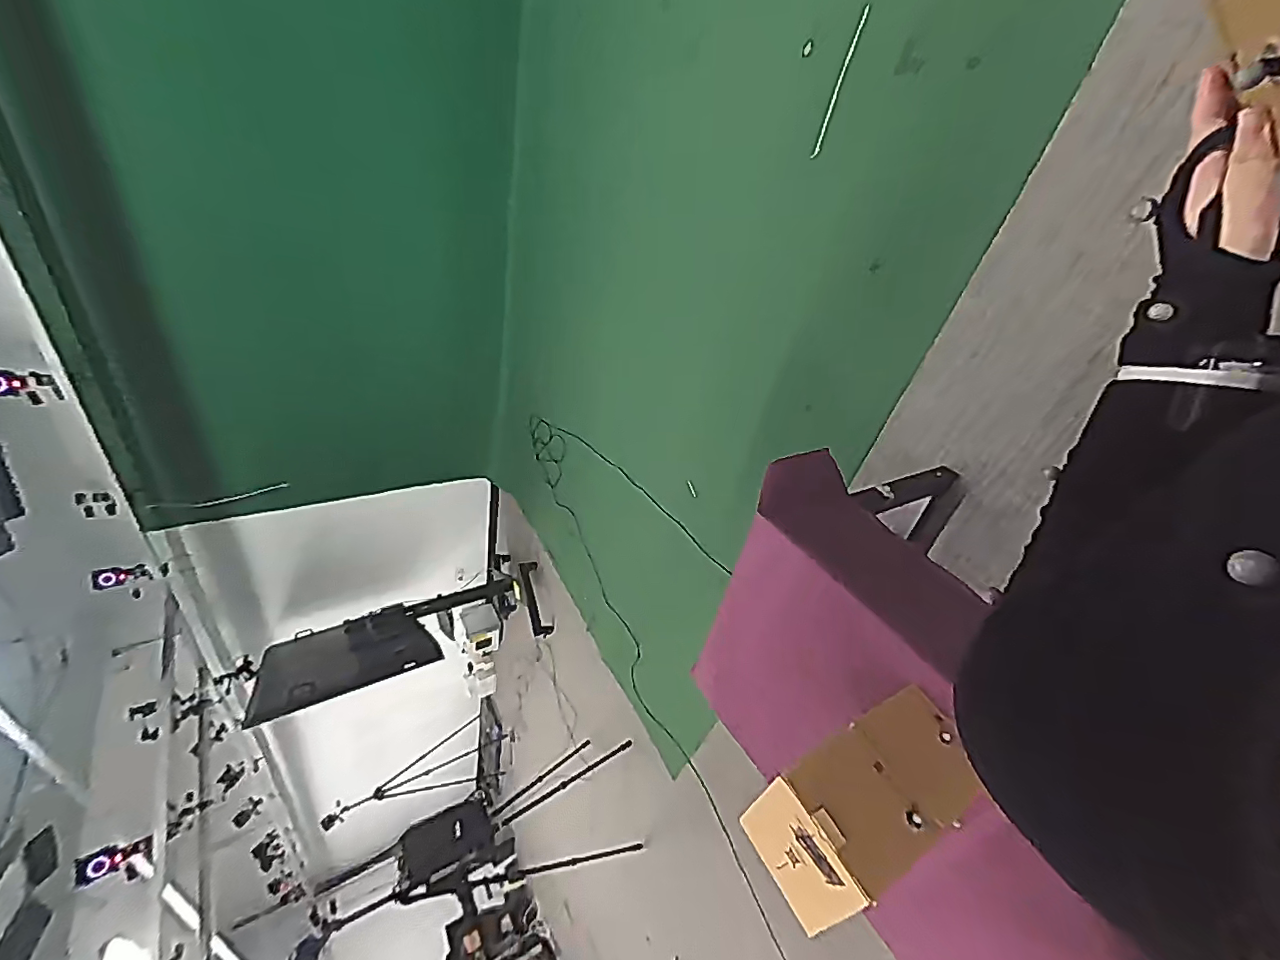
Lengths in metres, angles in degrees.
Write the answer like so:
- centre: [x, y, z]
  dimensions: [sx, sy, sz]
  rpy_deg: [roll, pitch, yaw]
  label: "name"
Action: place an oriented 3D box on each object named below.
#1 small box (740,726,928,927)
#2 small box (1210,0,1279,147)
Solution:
- centre: [0.283, 0.497, 0.792]
  dimensions: [0.168, 0.176, 0.179]
  rpy_deg: [52, 141, 37]
  label: "small box"
- centre: [0.388, -0.278, 0.237]
  dimensions: [0.179, 0.176, 0.168]
  rpy_deg: [-16, 101, 40]
  label: "small box"
